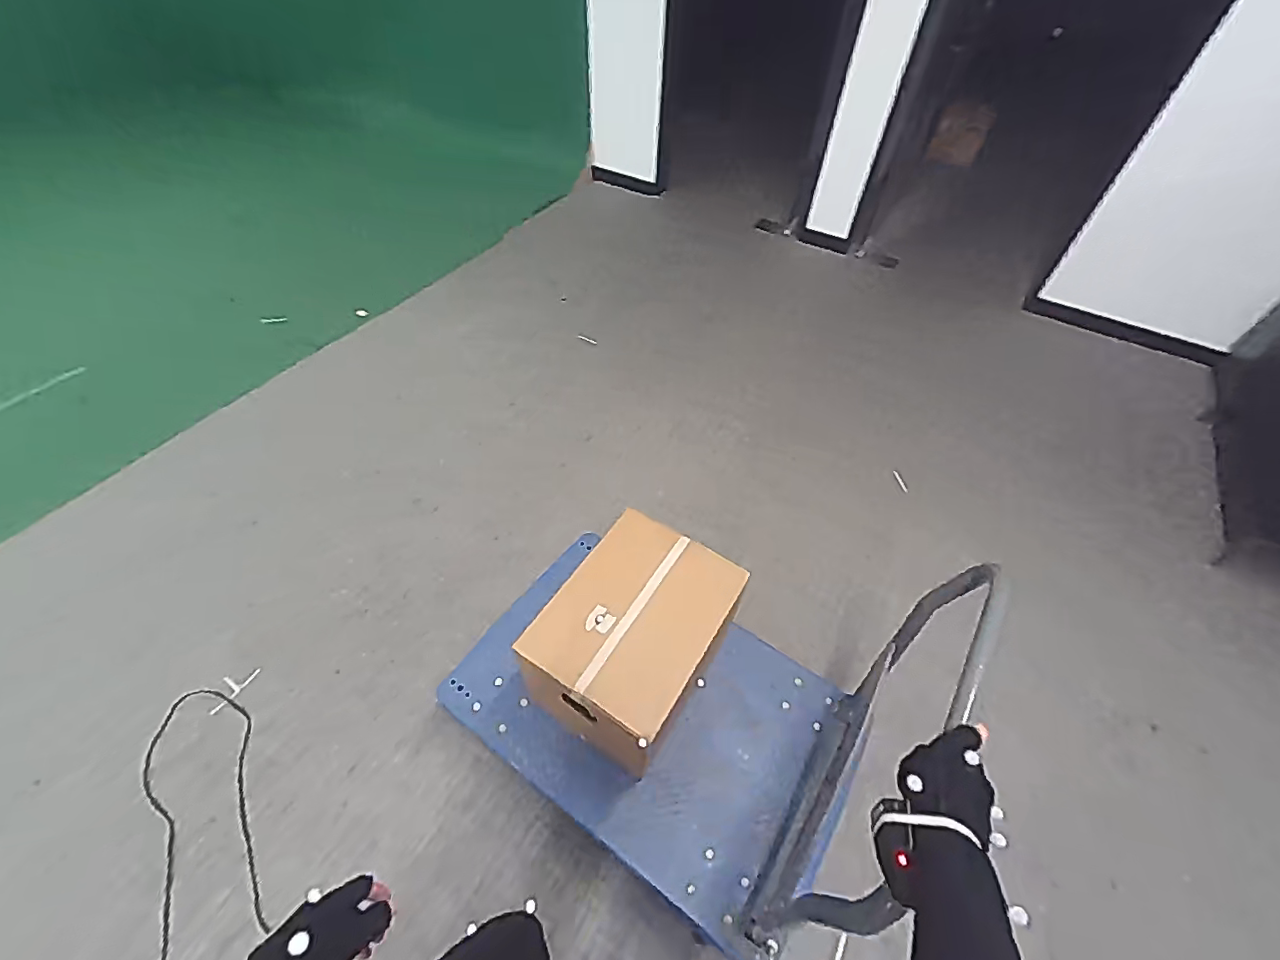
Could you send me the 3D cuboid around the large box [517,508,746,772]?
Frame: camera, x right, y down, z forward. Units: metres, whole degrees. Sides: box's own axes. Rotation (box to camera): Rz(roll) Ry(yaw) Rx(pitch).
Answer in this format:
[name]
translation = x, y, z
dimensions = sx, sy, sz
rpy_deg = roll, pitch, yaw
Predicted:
[large box]
translation = -0.008, 0.348, 1.200
dimensions = 0.320, 0.320, 0.408
rpy_deg = 27, 55, 19
